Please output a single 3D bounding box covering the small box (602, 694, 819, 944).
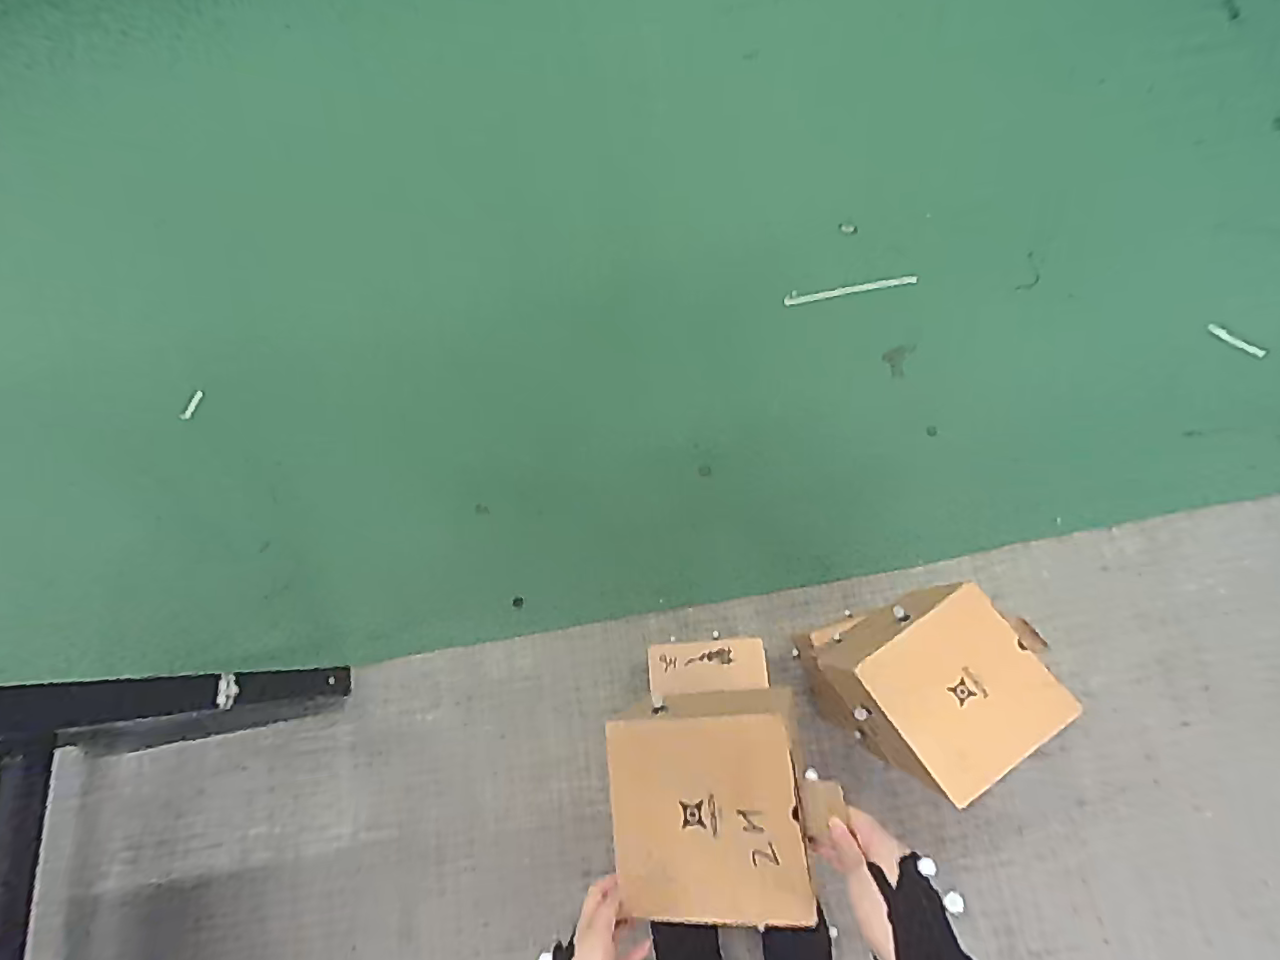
[{"bbox_3d":[0.076,0.317,0.542,0.179,0.176,0.168,-10,75,14],"label":"small box"}]

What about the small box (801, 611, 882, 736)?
[{"bbox_3d":[0.399,0.333,0.953,0.179,0.176,0.168,-17,73,-2],"label":"small box"}]

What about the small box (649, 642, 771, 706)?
[{"bbox_3d":[0.105,0.336,0.804,0.168,0.176,0.179,-5,72,4],"label":"small box"}]

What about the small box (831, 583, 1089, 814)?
[{"bbox_3d":[0.352,0.247,0.642,0.179,0.176,0.168,-34,74,-7],"label":"small box"}]

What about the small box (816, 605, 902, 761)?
[{"bbox_3d":[0.380,0.296,0.796,0.179,0.176,0.168,-30,74,-5],"label":"small box"}]
